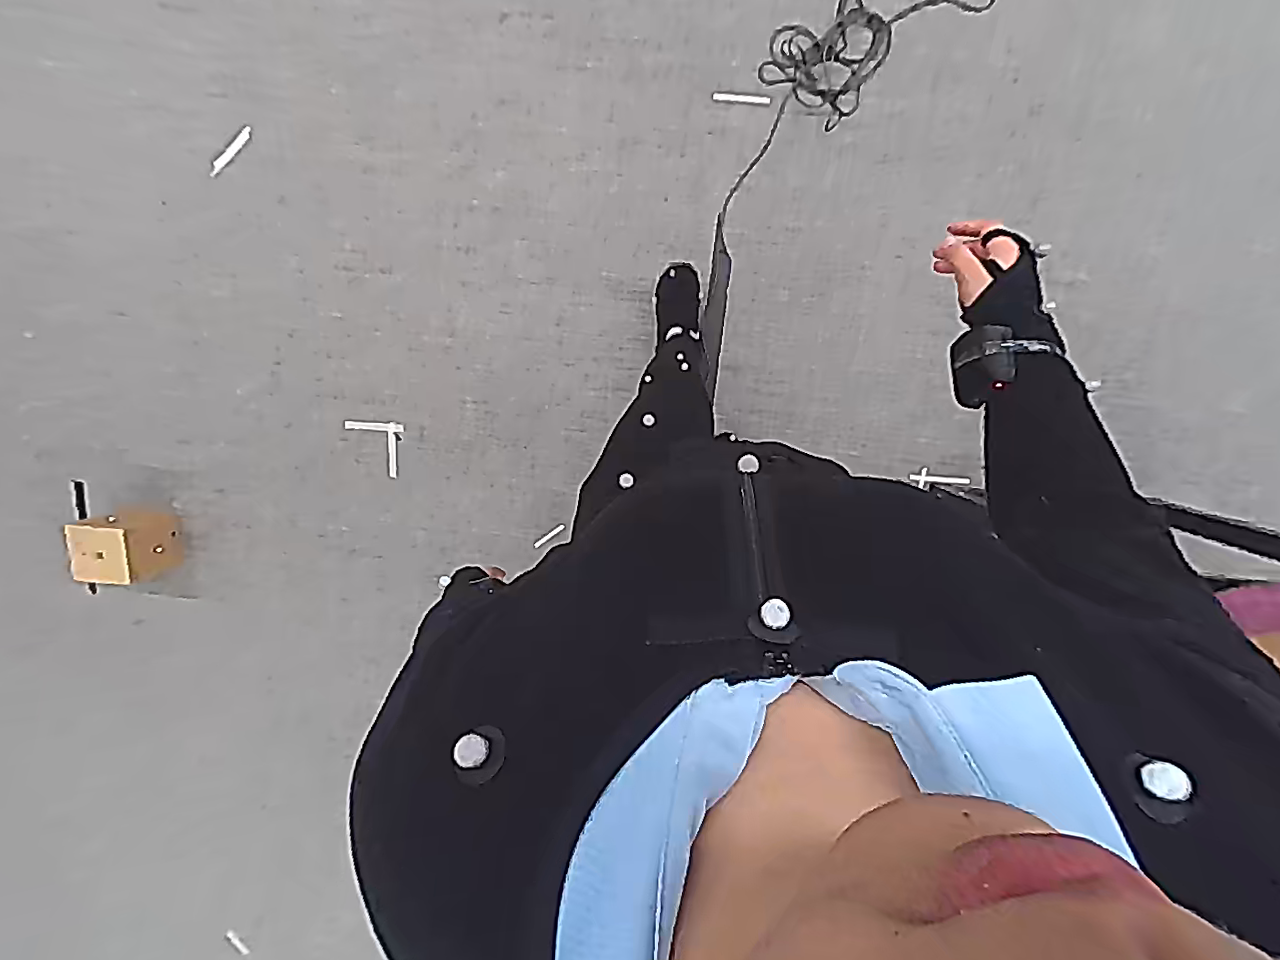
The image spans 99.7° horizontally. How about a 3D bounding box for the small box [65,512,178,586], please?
[{"bbox_3d":[-1.488,0.193,1.568,0.179,0.176,0.168,4,101,4],"label":"small box"}]
